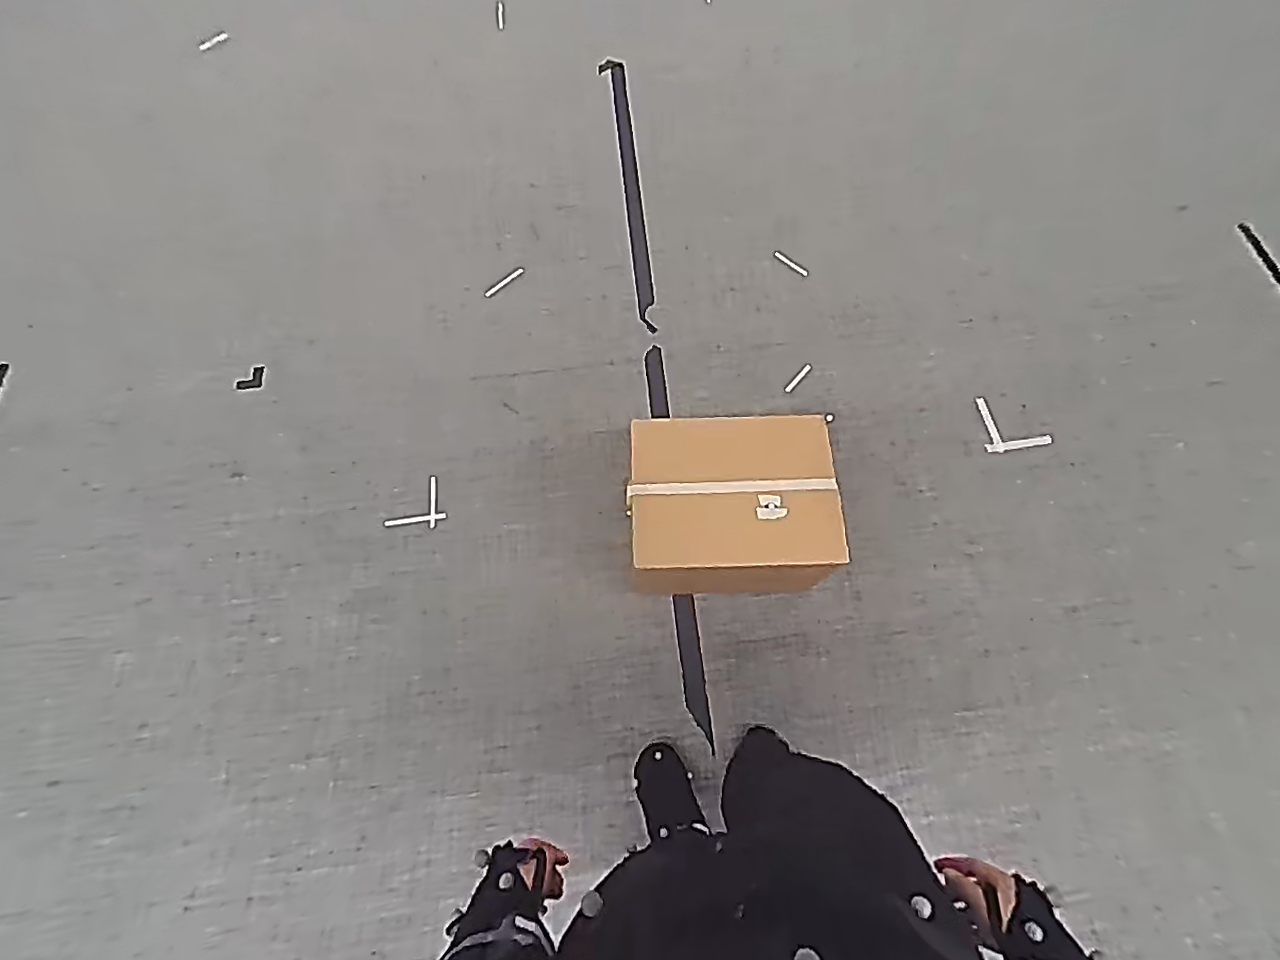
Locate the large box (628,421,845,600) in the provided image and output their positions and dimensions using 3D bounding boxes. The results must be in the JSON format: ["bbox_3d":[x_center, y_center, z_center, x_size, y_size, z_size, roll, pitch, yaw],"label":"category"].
[{"bbox_3d":[0.180,0.082,1.199,0.408,0.320,0.320,-2,69,-1],"label":"large box"}]
